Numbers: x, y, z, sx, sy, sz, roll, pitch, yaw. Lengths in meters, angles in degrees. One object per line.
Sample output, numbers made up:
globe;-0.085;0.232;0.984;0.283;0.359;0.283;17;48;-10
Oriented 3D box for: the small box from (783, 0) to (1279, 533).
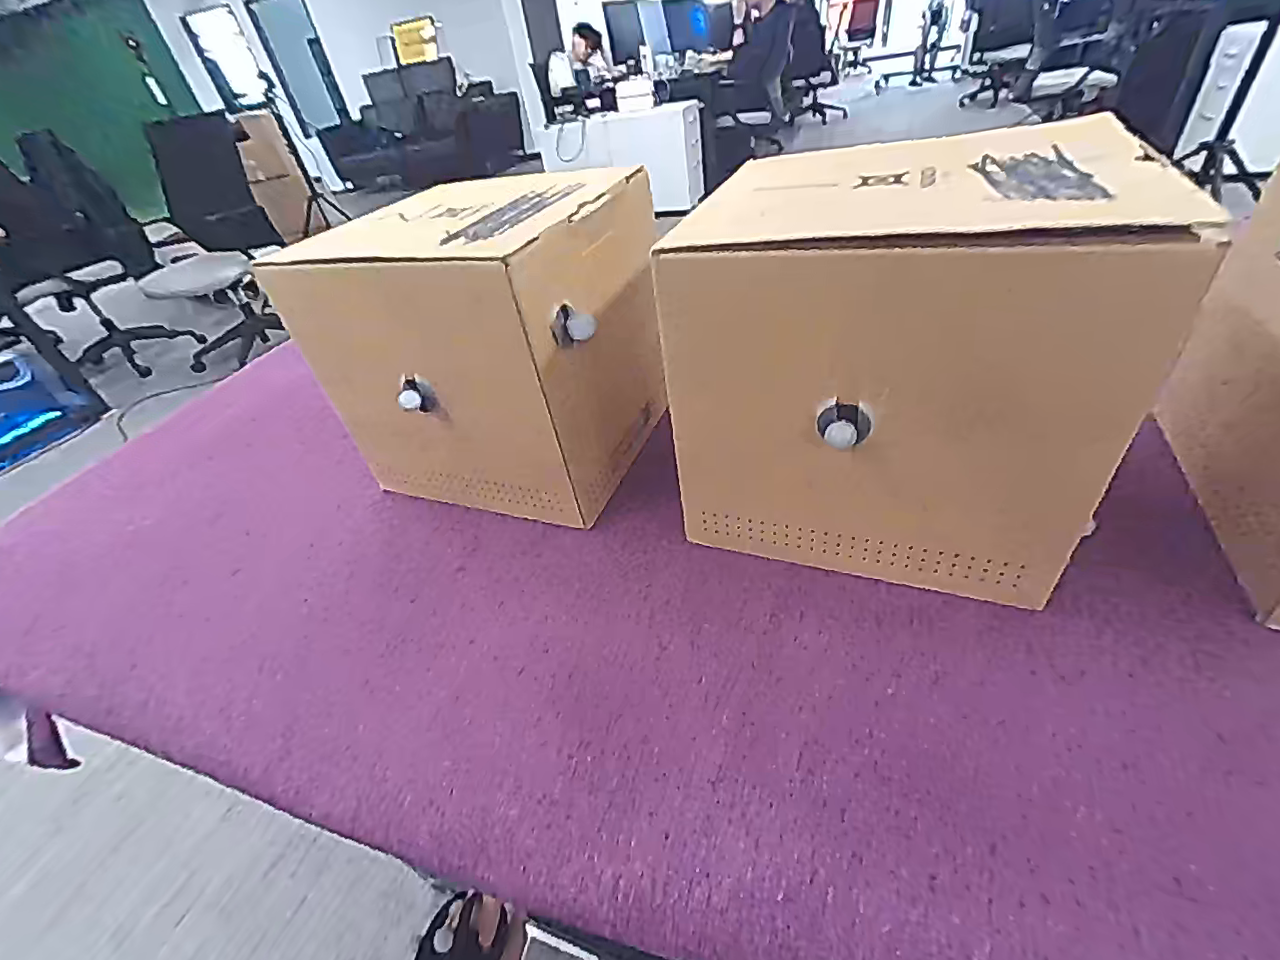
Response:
small box;0.176;-0.074;0.260;0.179;0.176;0.168;-9;78;9
